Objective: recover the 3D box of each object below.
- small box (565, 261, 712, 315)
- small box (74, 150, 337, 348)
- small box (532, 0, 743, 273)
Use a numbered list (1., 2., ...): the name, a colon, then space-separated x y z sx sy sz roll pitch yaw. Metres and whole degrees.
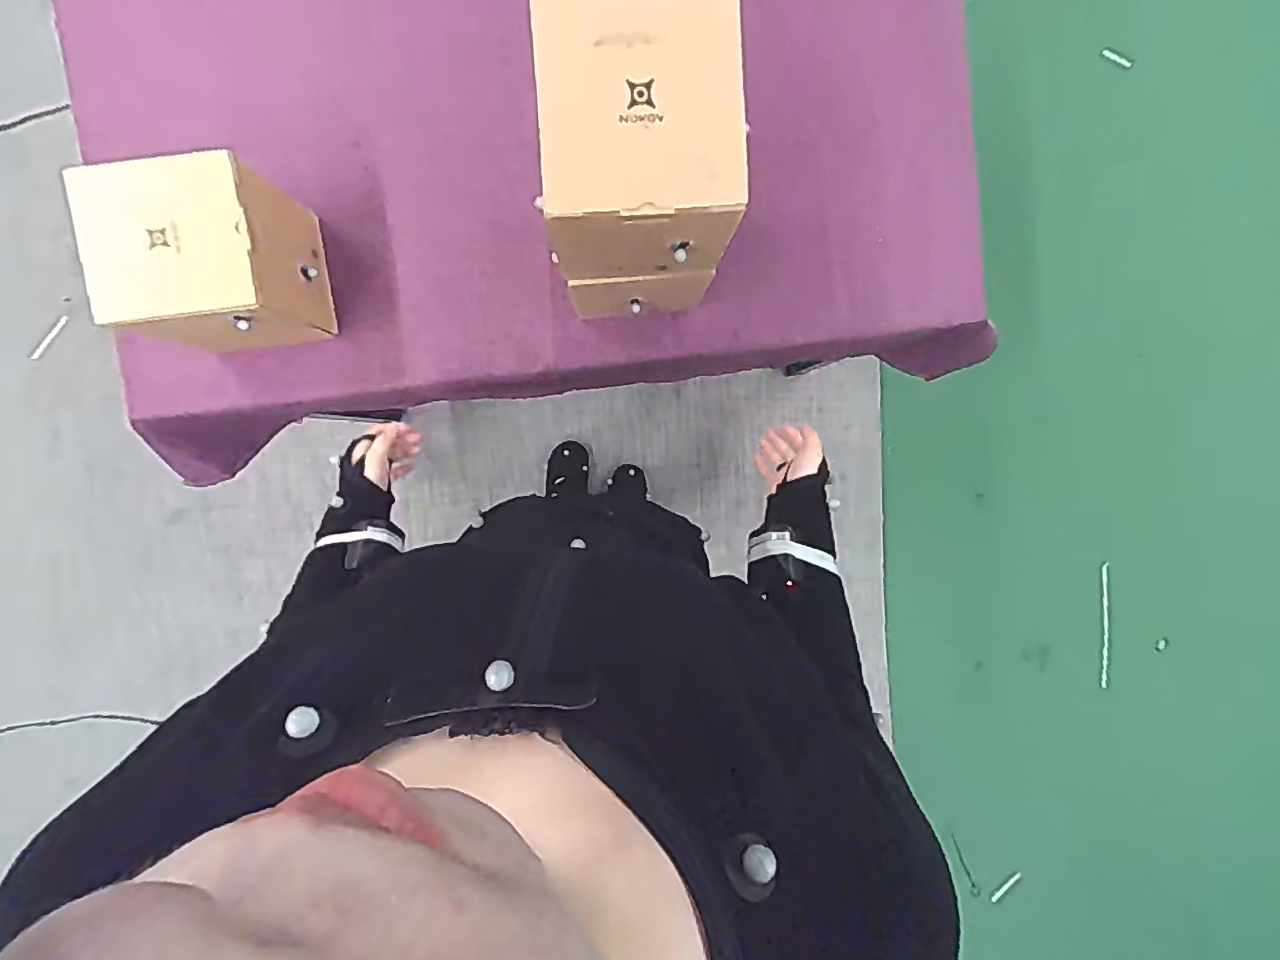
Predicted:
1. small box: -0.007 -0.310 0.671 0.168 0.176 0.179 -5 93 -2
2. small box: -0.509 -0.265 0.660 0.179 0.176 0.168 -8 93 -2
3. small box: -0.002 -0.304 0.508 0.168 0.176 0.179 -3 93 -2
